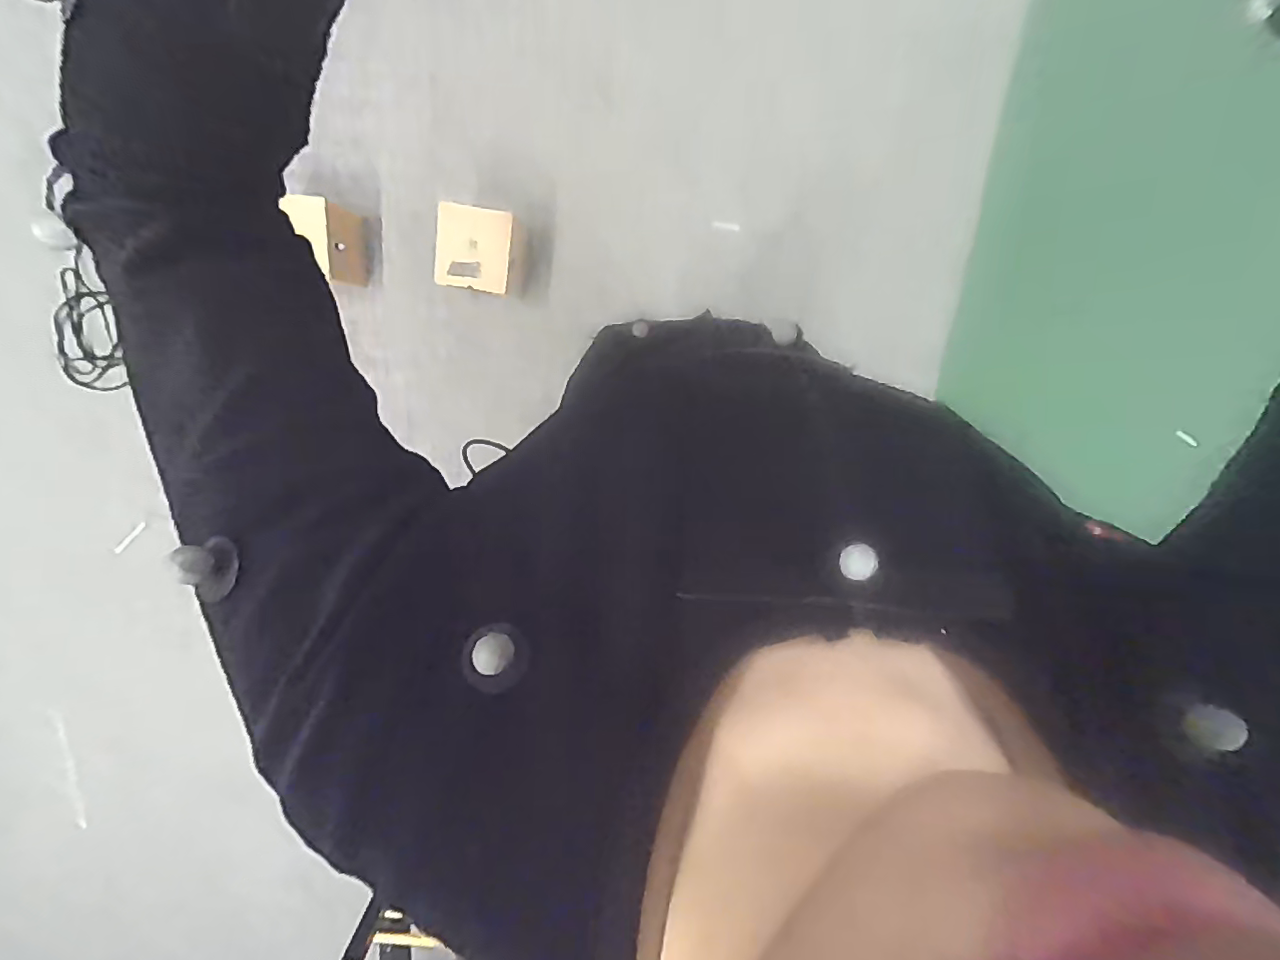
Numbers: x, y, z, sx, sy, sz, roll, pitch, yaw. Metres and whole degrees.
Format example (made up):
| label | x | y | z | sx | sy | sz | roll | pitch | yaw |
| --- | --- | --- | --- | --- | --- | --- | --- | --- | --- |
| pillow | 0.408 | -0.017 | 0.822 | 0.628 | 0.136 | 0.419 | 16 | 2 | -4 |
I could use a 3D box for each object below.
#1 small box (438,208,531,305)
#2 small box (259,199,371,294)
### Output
| label | x | y | z | sx | sy | sz | roll | pitch | yaw |
| --- | --- | --- | --- | --- | --- | --- | --- | --- | --- |
| small box | -0.363 | -0.520 | 1.285 | 0.168 | 0.176 | 0.179 | 9 | 103 | -1 |
| small box | -0.765 | -0.548 | 1.288 | 0.168 | 0.176 | 0.179 | 4 | 105 | 1 |
